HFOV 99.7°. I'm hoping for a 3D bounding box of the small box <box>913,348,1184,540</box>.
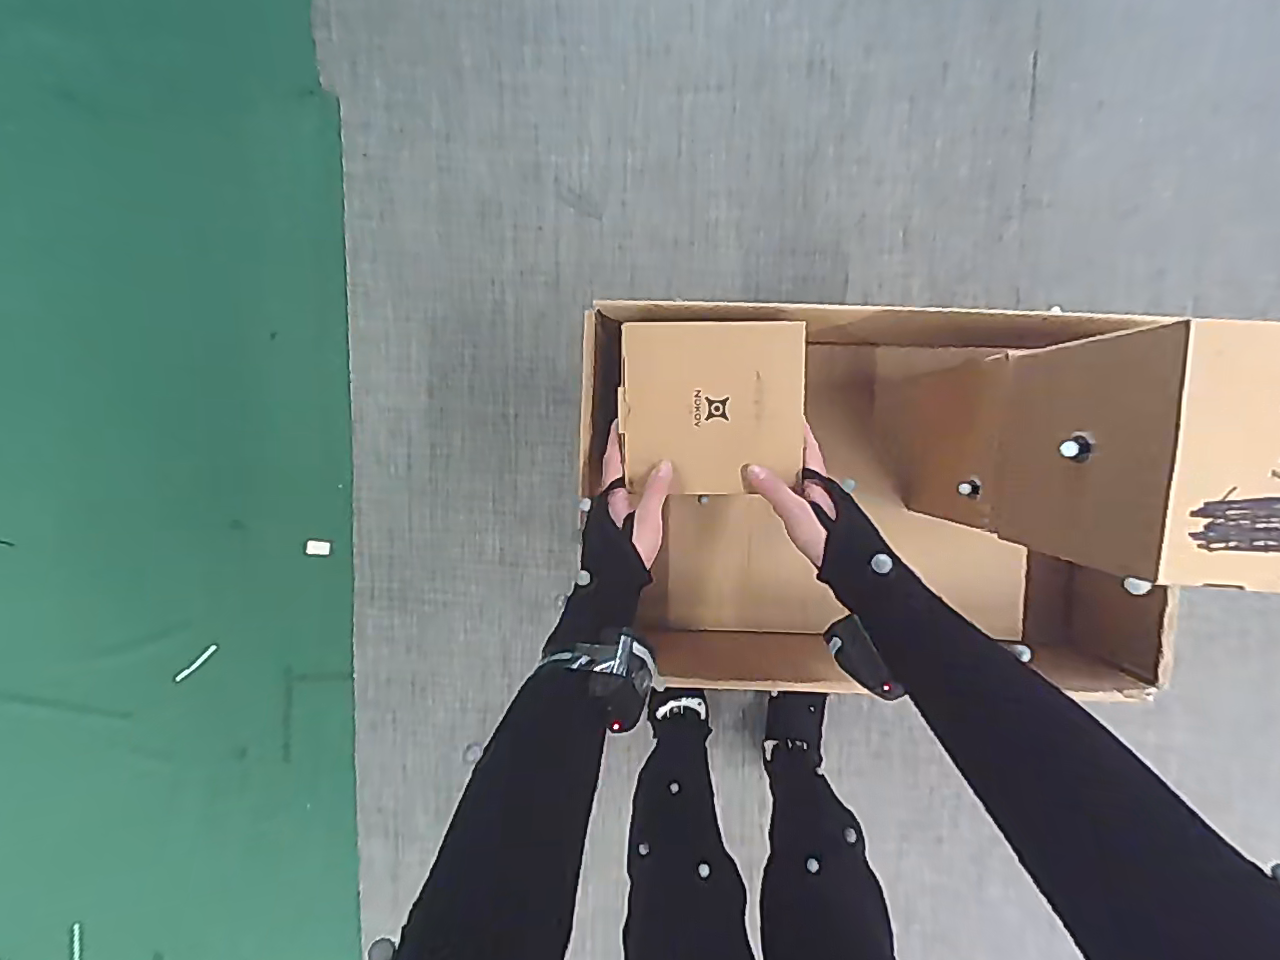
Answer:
[{"bbox_3d":[0.421,-0.039,0.589,0.168,0.176,0.179,2,95,0],"label":"small box"}]
